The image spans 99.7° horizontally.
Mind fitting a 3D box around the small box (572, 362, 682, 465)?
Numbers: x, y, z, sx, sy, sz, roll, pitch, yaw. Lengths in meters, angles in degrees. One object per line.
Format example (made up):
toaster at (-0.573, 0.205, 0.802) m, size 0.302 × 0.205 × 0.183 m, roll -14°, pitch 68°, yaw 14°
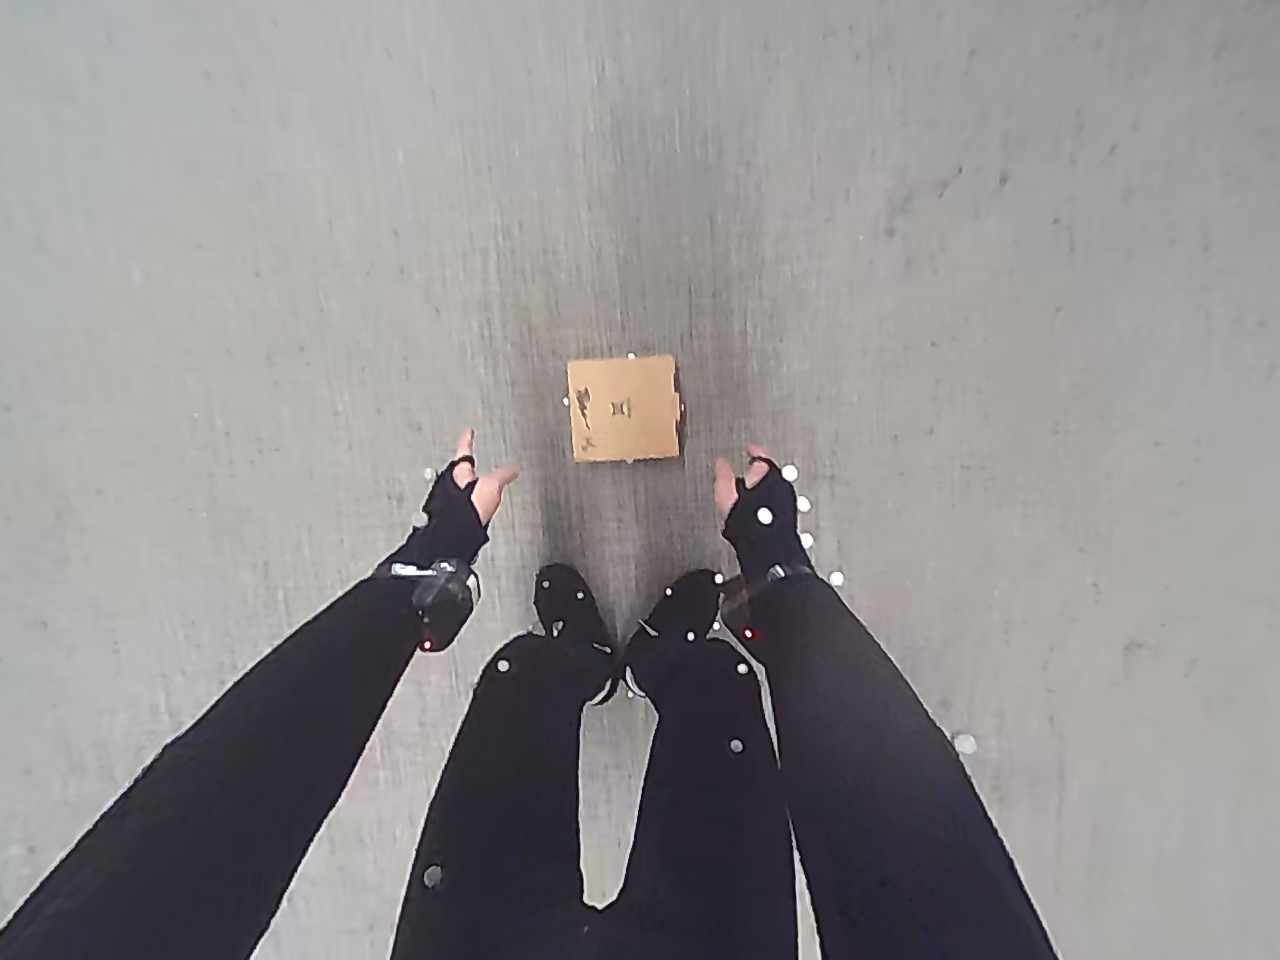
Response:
small box at (-0.022, -0.118, 0.967) m, size 0.179 × 0.176 × 0.168 m, roll -3°, pitch 96°, yaw 1°
